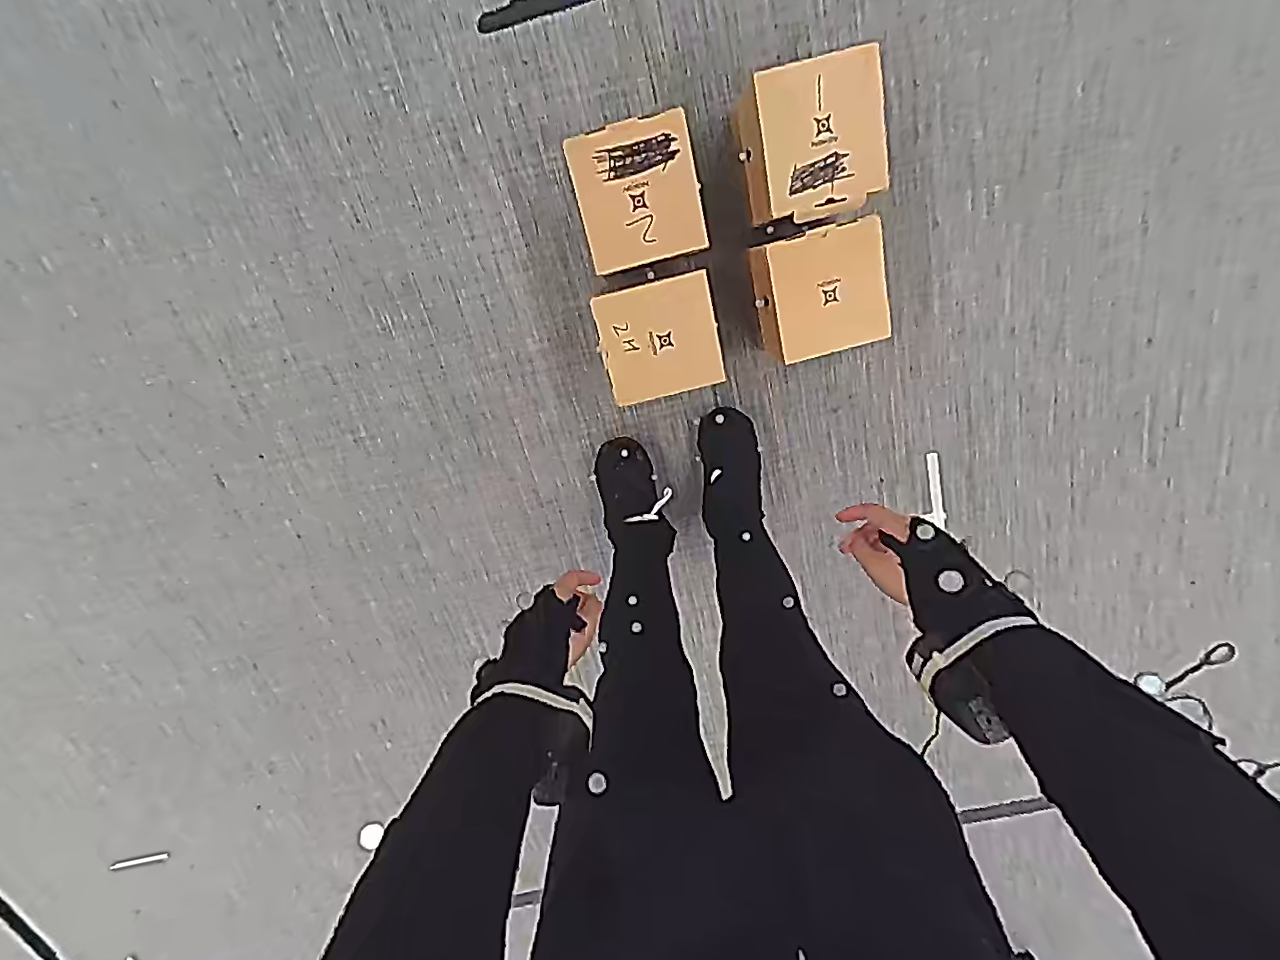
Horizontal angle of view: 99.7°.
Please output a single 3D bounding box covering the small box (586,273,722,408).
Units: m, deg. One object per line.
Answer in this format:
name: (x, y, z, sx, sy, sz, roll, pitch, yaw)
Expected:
small box: (0.019, -0.230, 0.868, 0.179, 0.176, 0.168, -13, 110, 3)
